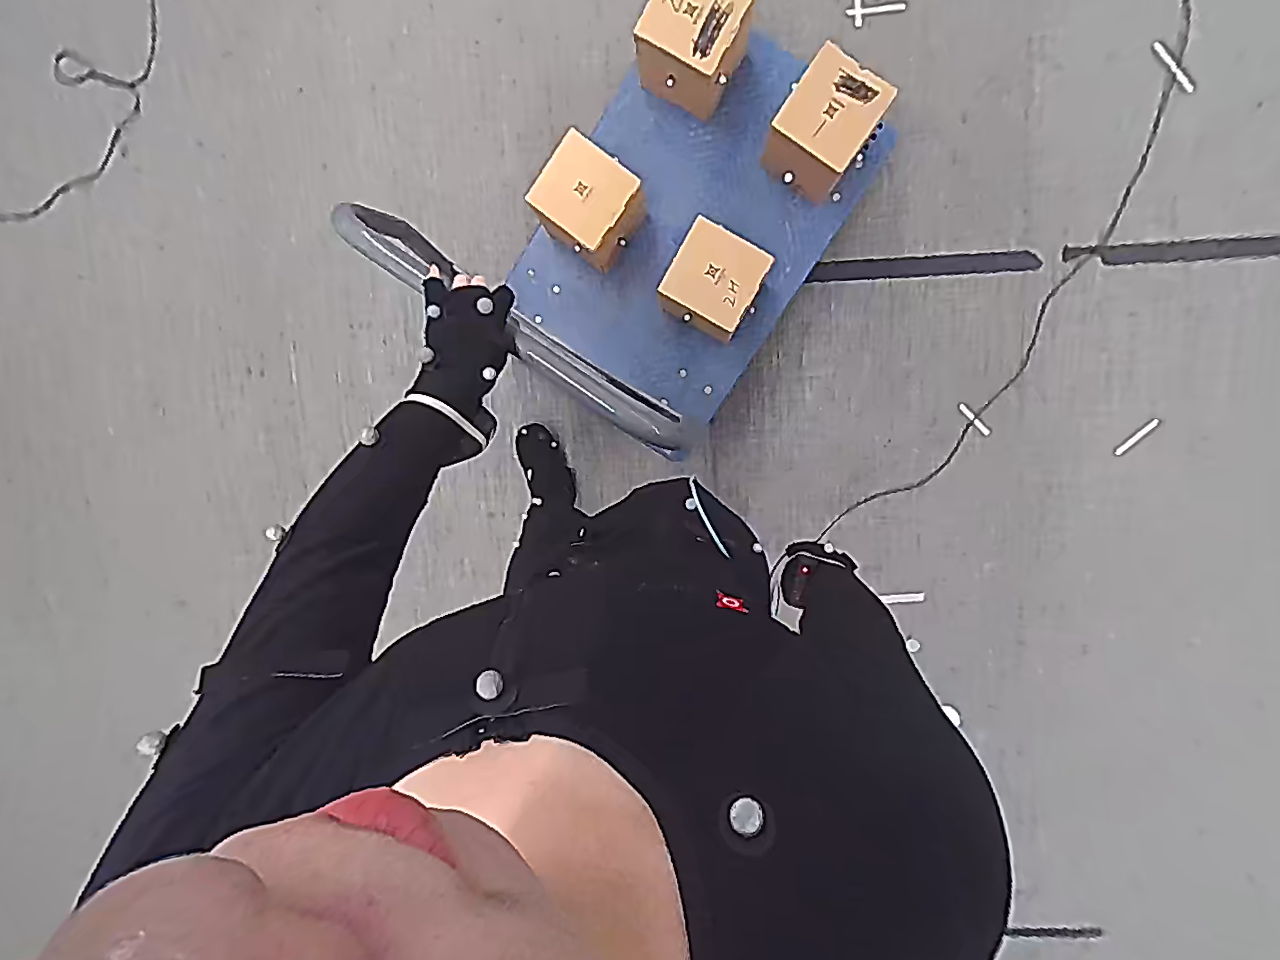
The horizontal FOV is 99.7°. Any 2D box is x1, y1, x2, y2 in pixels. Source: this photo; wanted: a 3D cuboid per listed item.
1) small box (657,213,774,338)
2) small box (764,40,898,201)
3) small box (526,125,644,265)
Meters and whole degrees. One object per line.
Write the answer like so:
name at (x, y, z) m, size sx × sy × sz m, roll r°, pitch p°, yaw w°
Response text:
small box at (0.153, -0.417, 1.138) m, size 0.179 × 0.176 × 0.168 m, roll 31°, pitch 98°, yaw 0°
small box at (0.370, -0.708, 1.087) m, size 0.168 × 0.176 × 0.179 m, roll 36°, pitch 99°, yaw 0°
small box at (-0.107, -0.585, 1.139) m, size 0.179 × 0.176 × 0.168 m, roll 37°, pitch 97°, yaw -2°
